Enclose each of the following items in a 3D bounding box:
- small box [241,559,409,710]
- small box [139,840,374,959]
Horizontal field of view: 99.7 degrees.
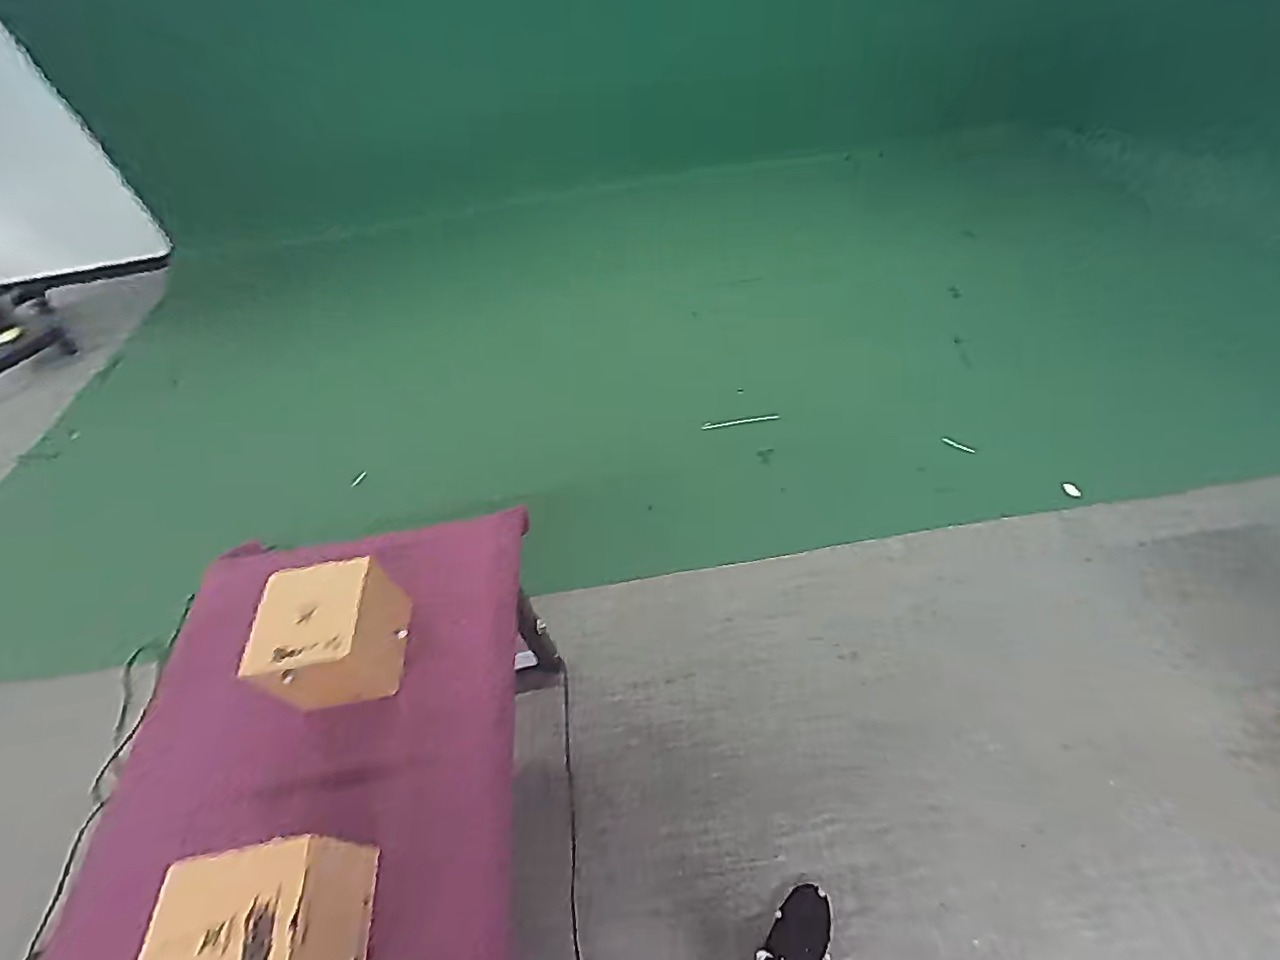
[{"bbox_3d":[-0.507,0.260,0.905,0.168,0.176,0.179,-10,50,0],"label":"small box"},{"bbox_3d":[-0.451,0.554,0.653,0.179,0.176,0.168,-11,50,-1],"label":"small box"}]
